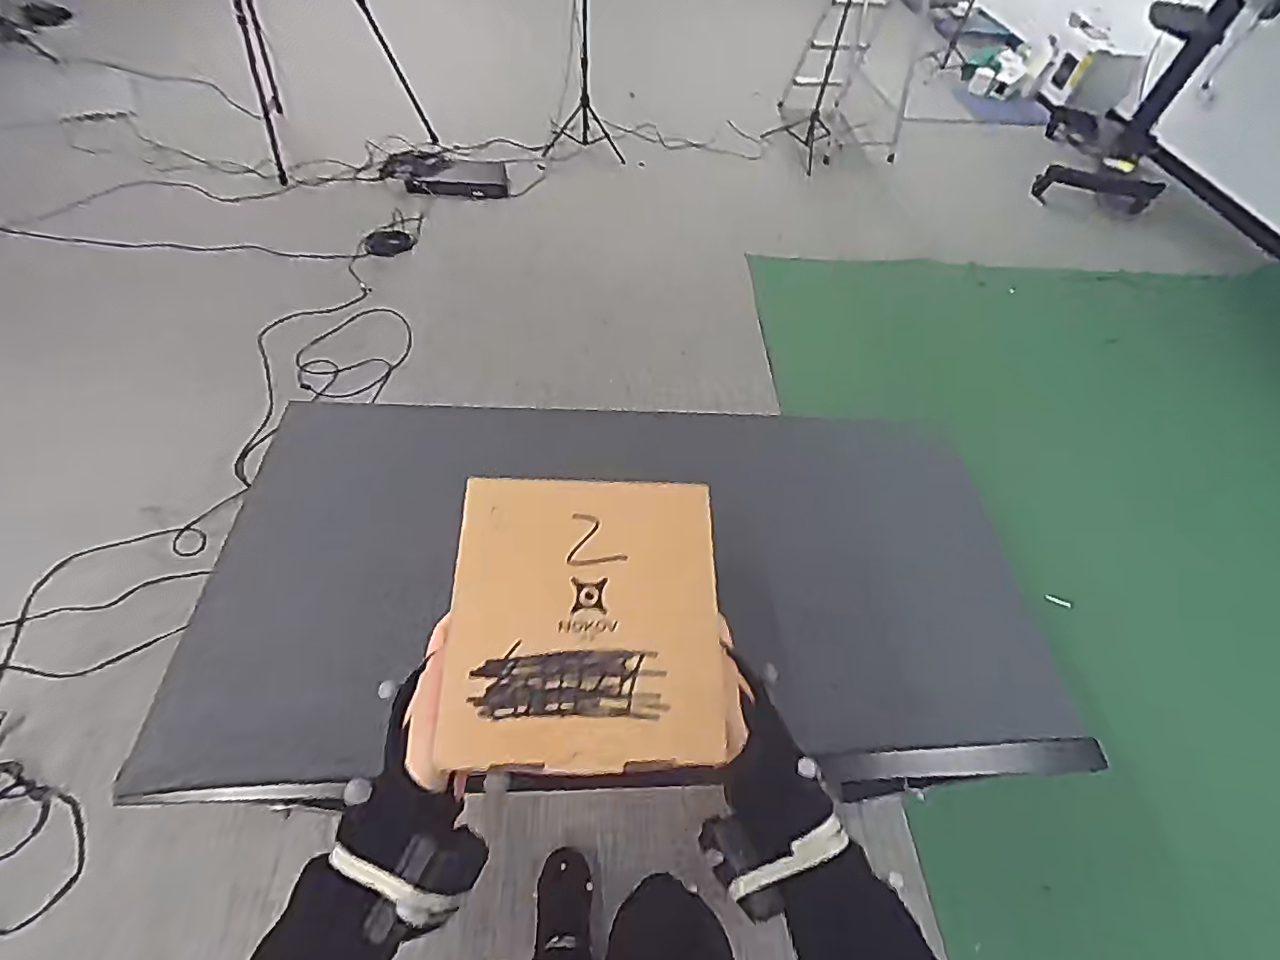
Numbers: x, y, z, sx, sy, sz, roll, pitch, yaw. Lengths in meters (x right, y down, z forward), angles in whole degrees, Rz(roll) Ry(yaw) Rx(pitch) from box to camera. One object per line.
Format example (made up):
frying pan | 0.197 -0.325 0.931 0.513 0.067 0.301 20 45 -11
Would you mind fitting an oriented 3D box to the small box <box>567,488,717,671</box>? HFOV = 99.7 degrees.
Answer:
small box | -0.010 0.131 0.704 0.168 0.176 0.179 -3 54 -7
